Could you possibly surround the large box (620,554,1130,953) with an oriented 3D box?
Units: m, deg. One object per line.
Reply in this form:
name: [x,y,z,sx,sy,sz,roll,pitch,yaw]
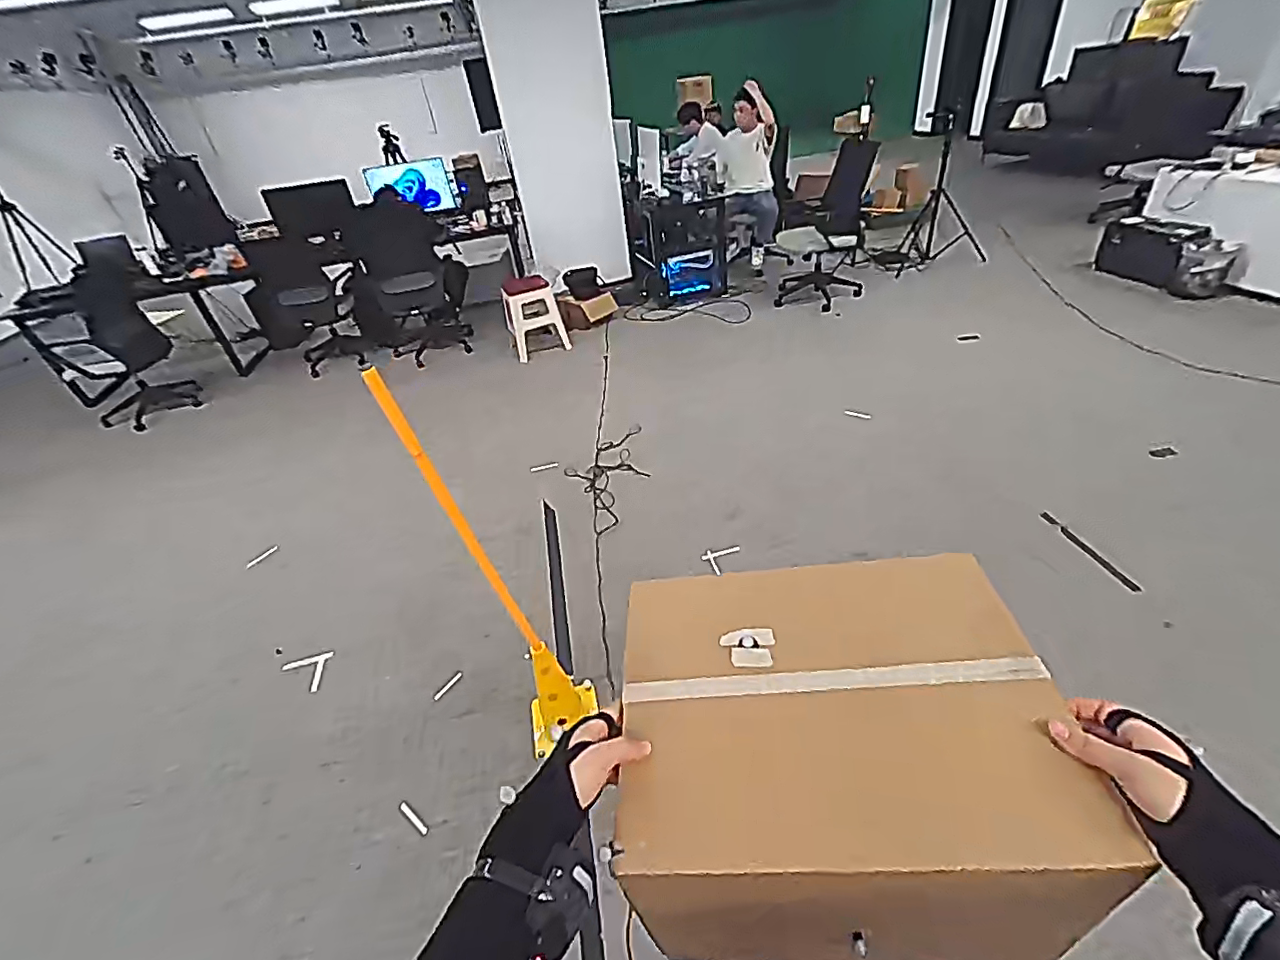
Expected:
large box: [0.213,0.323,0.637,0.408,0.320,0.320,-8,36,9]
